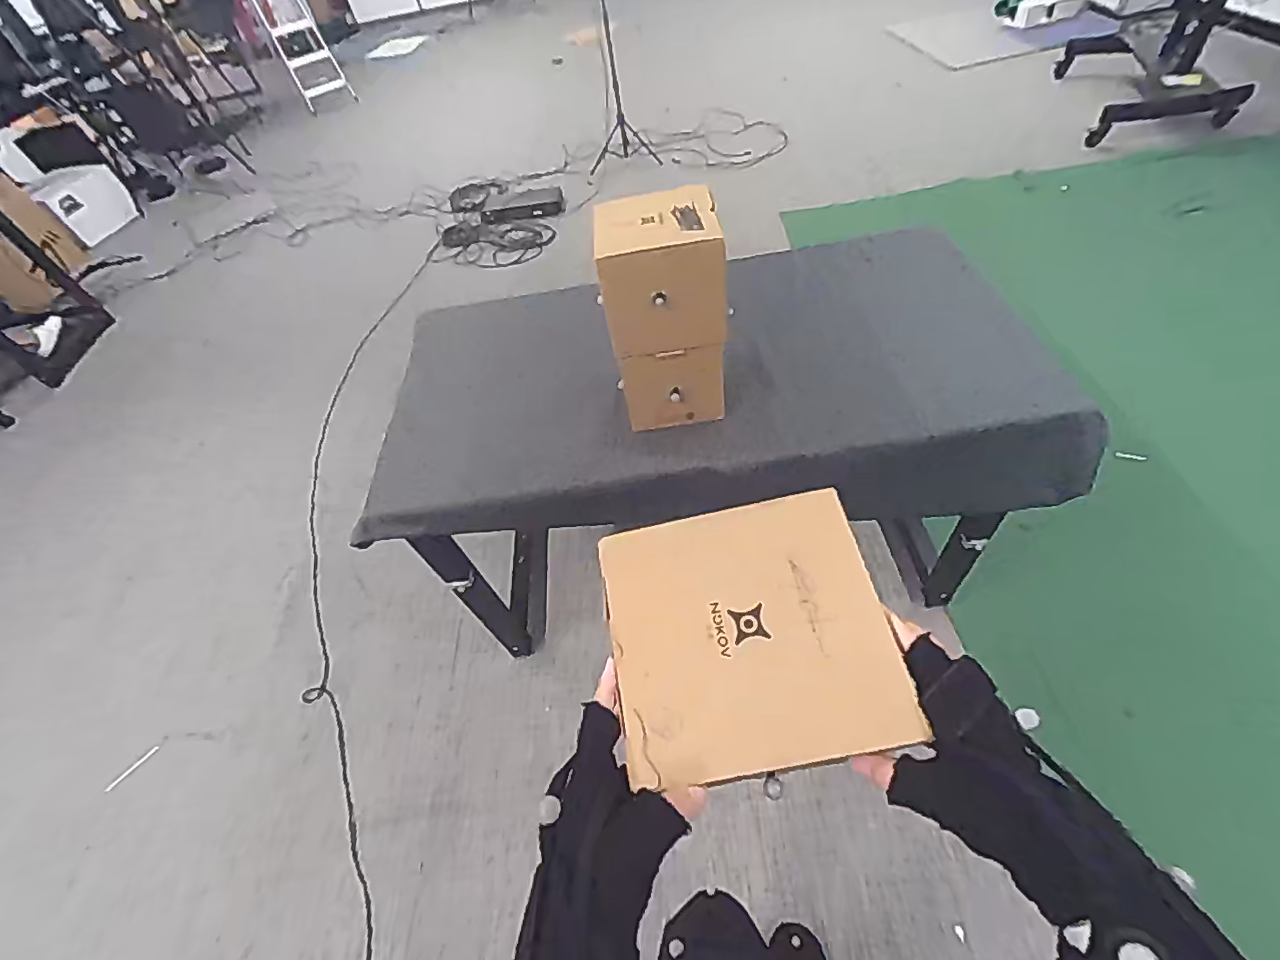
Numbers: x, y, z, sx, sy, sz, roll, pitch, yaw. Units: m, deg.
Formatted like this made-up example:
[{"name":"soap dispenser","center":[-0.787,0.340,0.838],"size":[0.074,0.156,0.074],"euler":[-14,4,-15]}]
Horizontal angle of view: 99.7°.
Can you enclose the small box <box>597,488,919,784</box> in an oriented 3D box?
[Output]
[{"name":"small box","center":[0.077,0.131,0.421],"size":[0.179,0.176,0.168],"euler":[-13,60,2]}]

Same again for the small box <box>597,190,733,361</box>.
[{"name":"small box","center":[0.037,-0.304,0.815],"size":[0.179,0.176,0.168],"euler":[-9,51,2]}]

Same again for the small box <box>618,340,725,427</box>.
[{"name":"small box","center":[0.055,-0.208,0.948],"size":[0.168,0.176,0.179],"euler":[-8,51,4]}]
